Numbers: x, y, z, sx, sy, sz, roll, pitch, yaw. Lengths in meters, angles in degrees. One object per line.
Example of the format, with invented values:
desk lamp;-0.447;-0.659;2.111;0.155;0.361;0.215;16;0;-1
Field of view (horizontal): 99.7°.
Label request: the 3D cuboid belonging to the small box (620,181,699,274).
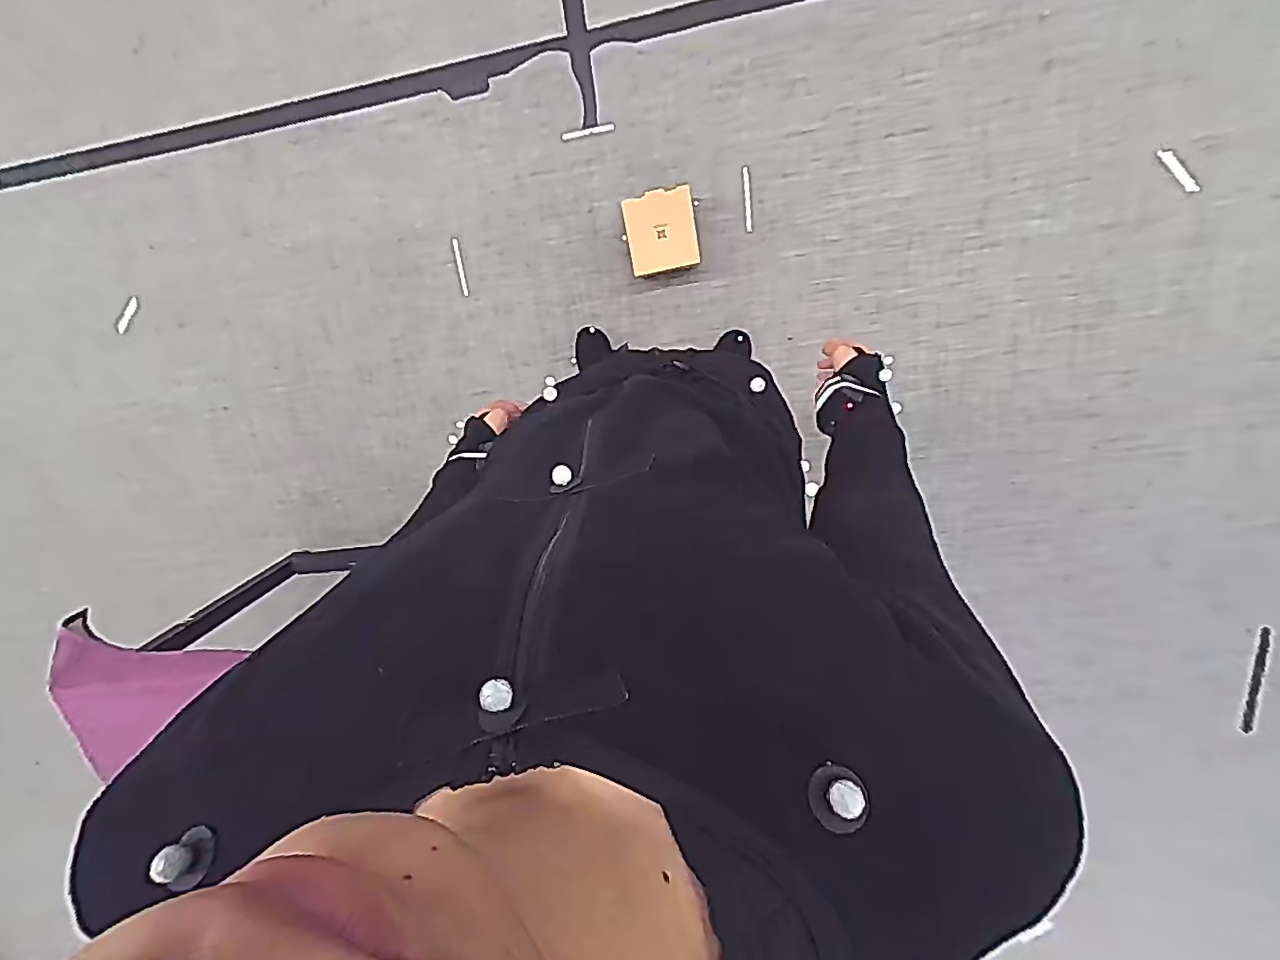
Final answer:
small box;0.056;-0.624;1.359;0.168;0.176;0.179;-9;107;9
